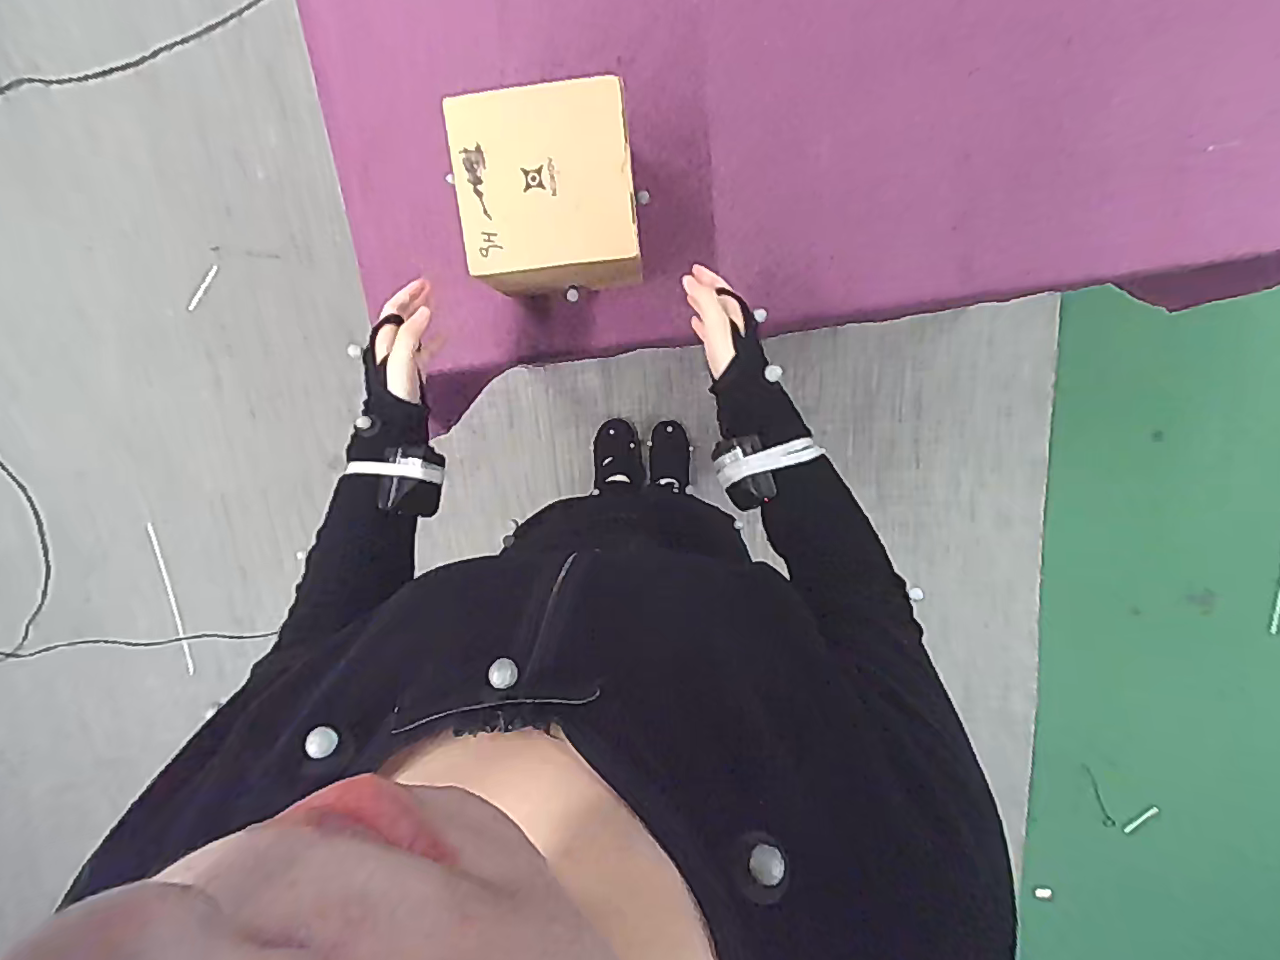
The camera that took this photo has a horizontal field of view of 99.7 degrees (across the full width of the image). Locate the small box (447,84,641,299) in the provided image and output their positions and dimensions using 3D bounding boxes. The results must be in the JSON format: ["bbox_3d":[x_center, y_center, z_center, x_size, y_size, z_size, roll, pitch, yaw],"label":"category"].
[{"bbox_3d":[-0.092,-0.307,0.610,0.179,0.176,0.168,-5,100,2],"label":"small box"}]
